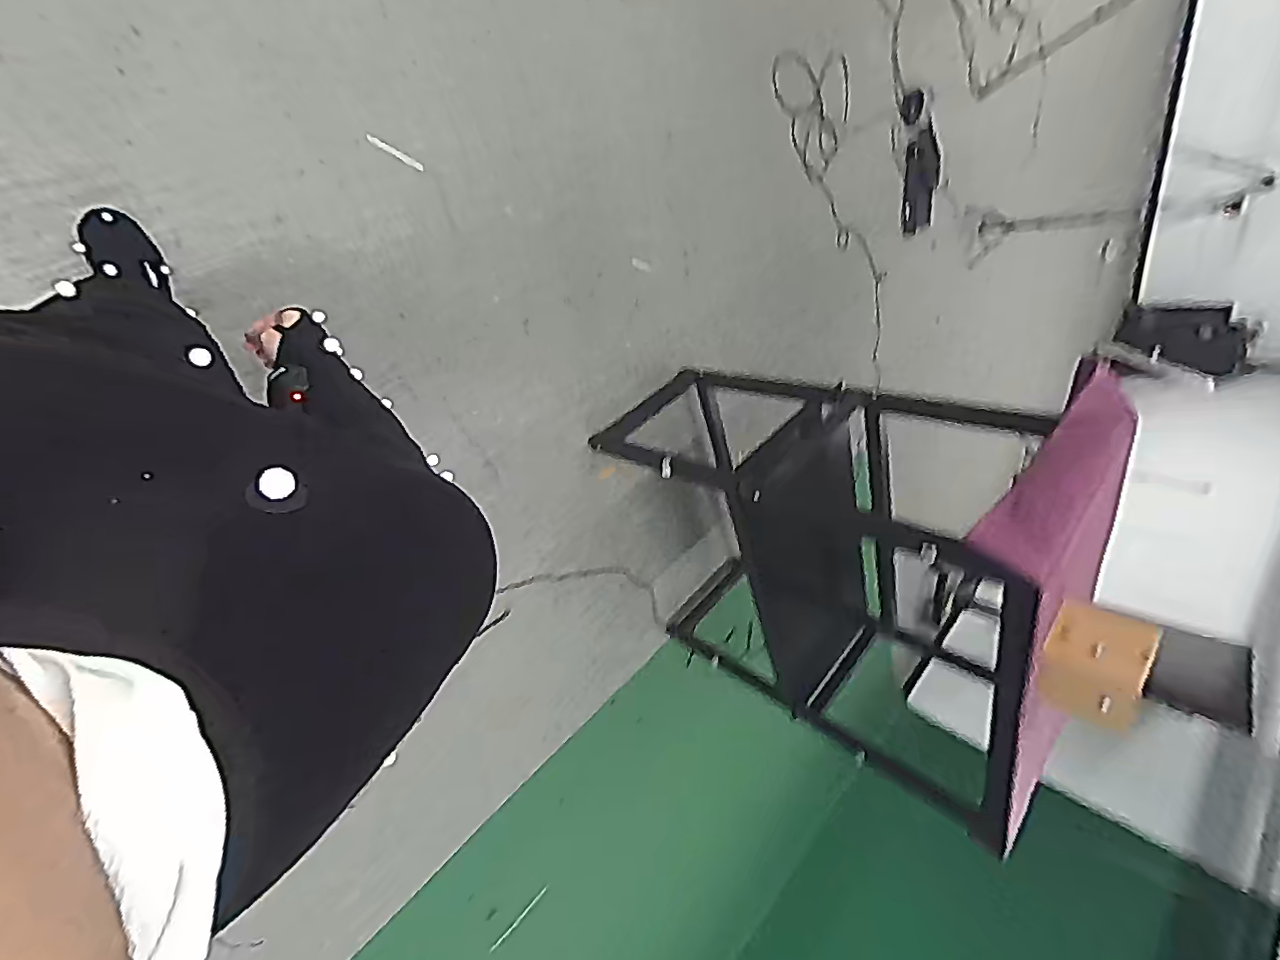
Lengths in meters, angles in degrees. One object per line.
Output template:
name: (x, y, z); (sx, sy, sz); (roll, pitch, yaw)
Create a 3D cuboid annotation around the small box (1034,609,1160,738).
small box: (0.969, 0.401, 1.157); (0.168, 0.176, 0.179); (-37, 126, -29)
